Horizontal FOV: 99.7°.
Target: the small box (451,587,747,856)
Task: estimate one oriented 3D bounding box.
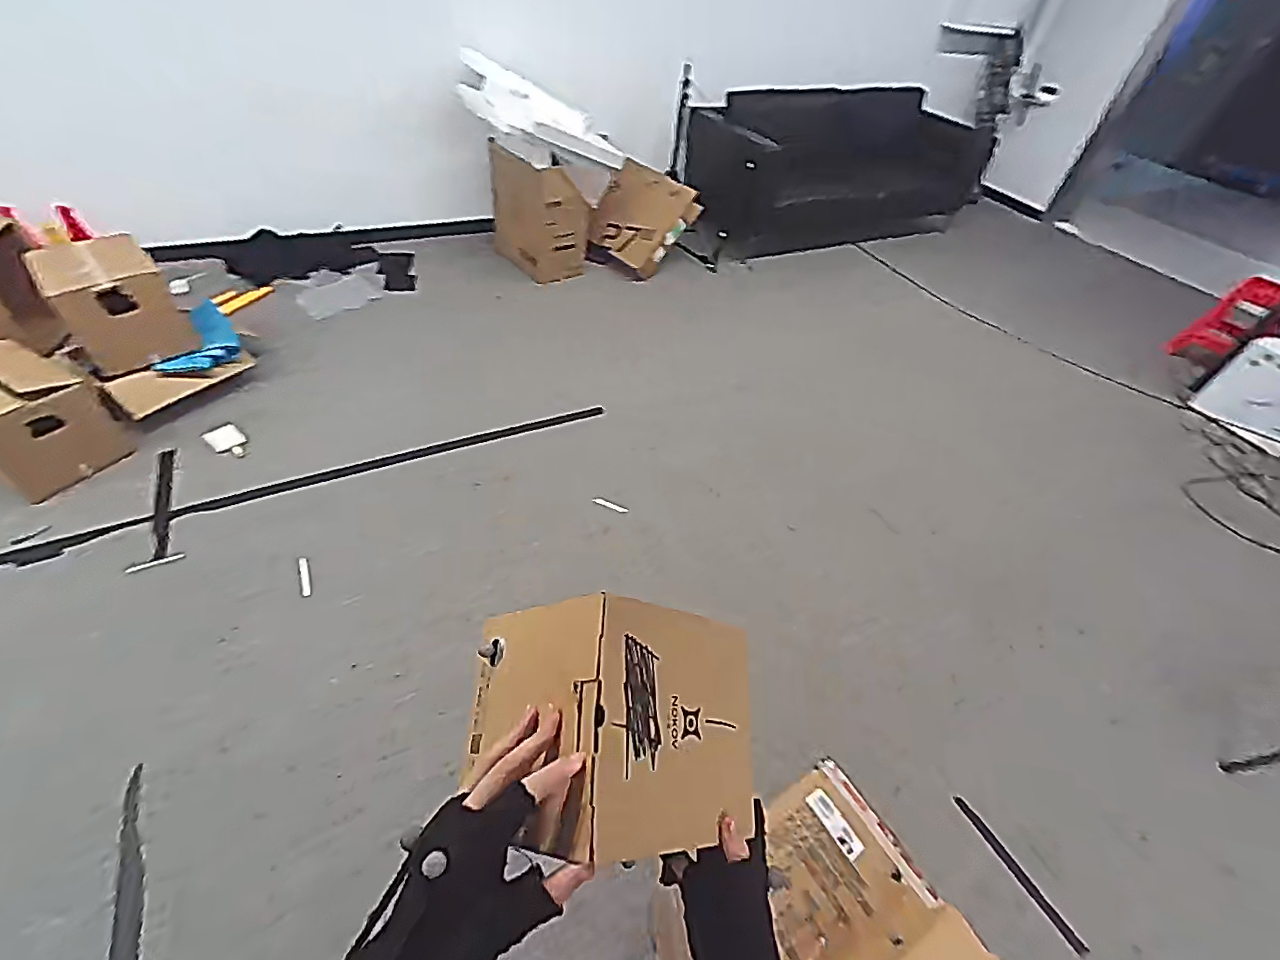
[{"bbox_3d":[-0.034,0.200,0.454,0.179,0.176,0.168,24,56,-40],"label":"small box"}]

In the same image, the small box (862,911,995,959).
[{"bbox_3d":[0.386,0.715,0.708,0.179,0.176,0.168,-19,53,-27],"label":"small box"}]
